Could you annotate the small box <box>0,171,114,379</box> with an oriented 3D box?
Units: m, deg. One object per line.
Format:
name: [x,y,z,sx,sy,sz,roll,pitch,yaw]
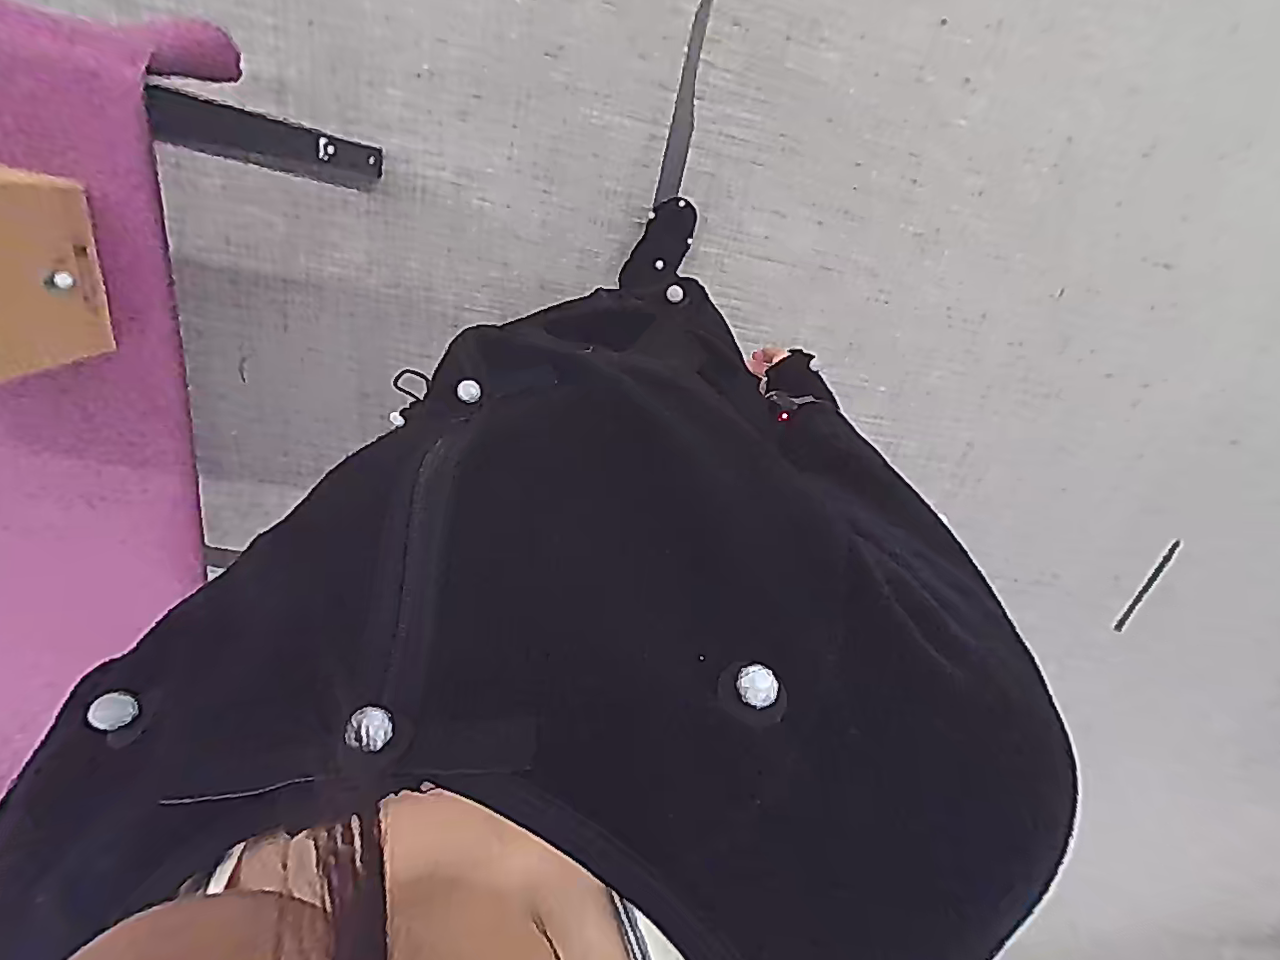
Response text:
small box: [-0.627,-0.184,0.466,0.179,0.176,0.168,10,116,-9]
